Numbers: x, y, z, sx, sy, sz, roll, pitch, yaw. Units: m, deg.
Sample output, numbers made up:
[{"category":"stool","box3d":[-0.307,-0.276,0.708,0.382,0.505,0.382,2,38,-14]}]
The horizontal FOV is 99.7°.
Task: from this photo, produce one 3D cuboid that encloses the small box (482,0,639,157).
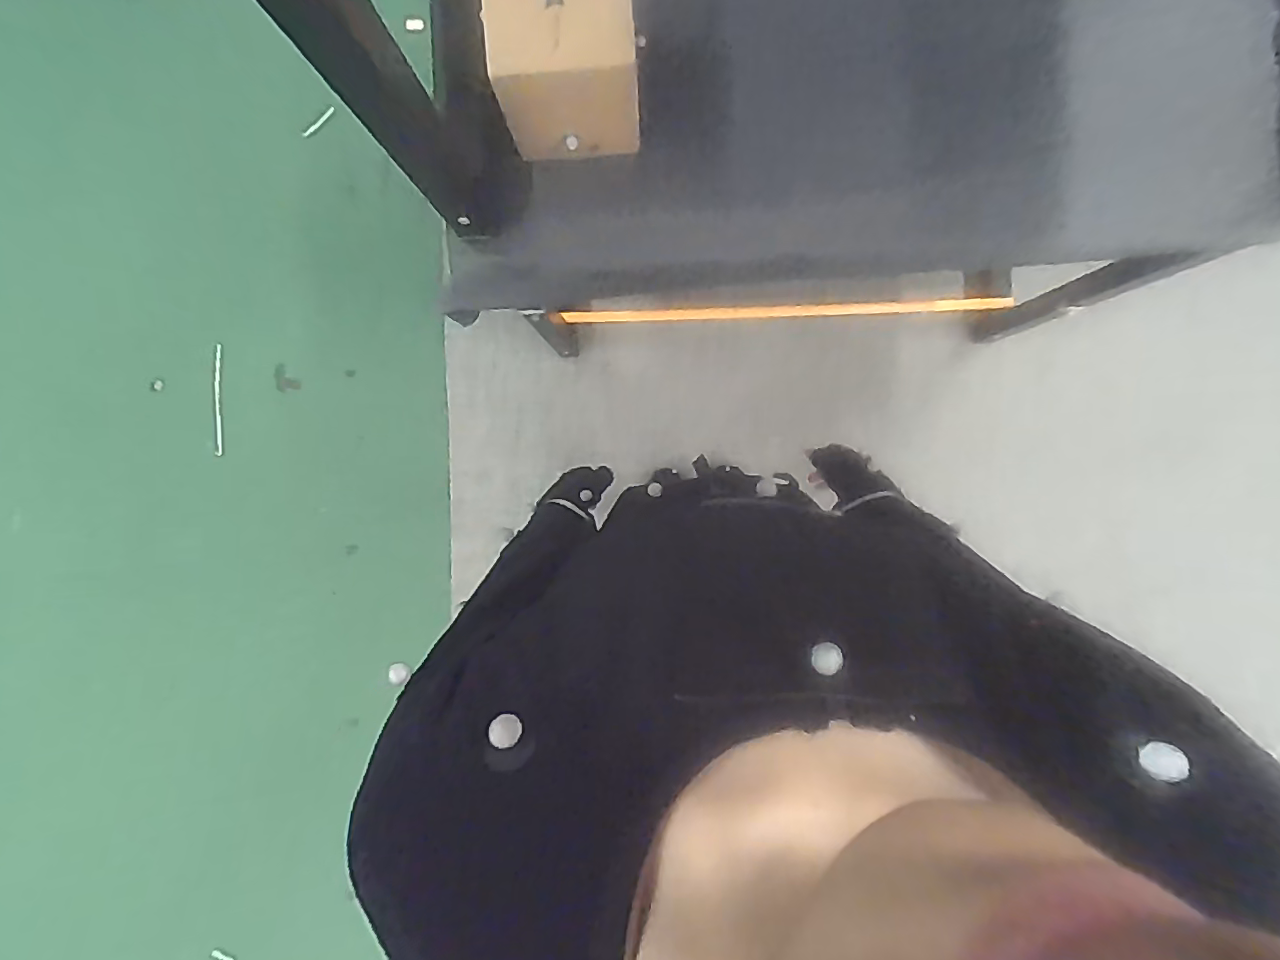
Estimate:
[{"category":"small box","box3d":[-0.089,-0.535,0.663,0.168,0.176,0.179,-4,91,2]}]
